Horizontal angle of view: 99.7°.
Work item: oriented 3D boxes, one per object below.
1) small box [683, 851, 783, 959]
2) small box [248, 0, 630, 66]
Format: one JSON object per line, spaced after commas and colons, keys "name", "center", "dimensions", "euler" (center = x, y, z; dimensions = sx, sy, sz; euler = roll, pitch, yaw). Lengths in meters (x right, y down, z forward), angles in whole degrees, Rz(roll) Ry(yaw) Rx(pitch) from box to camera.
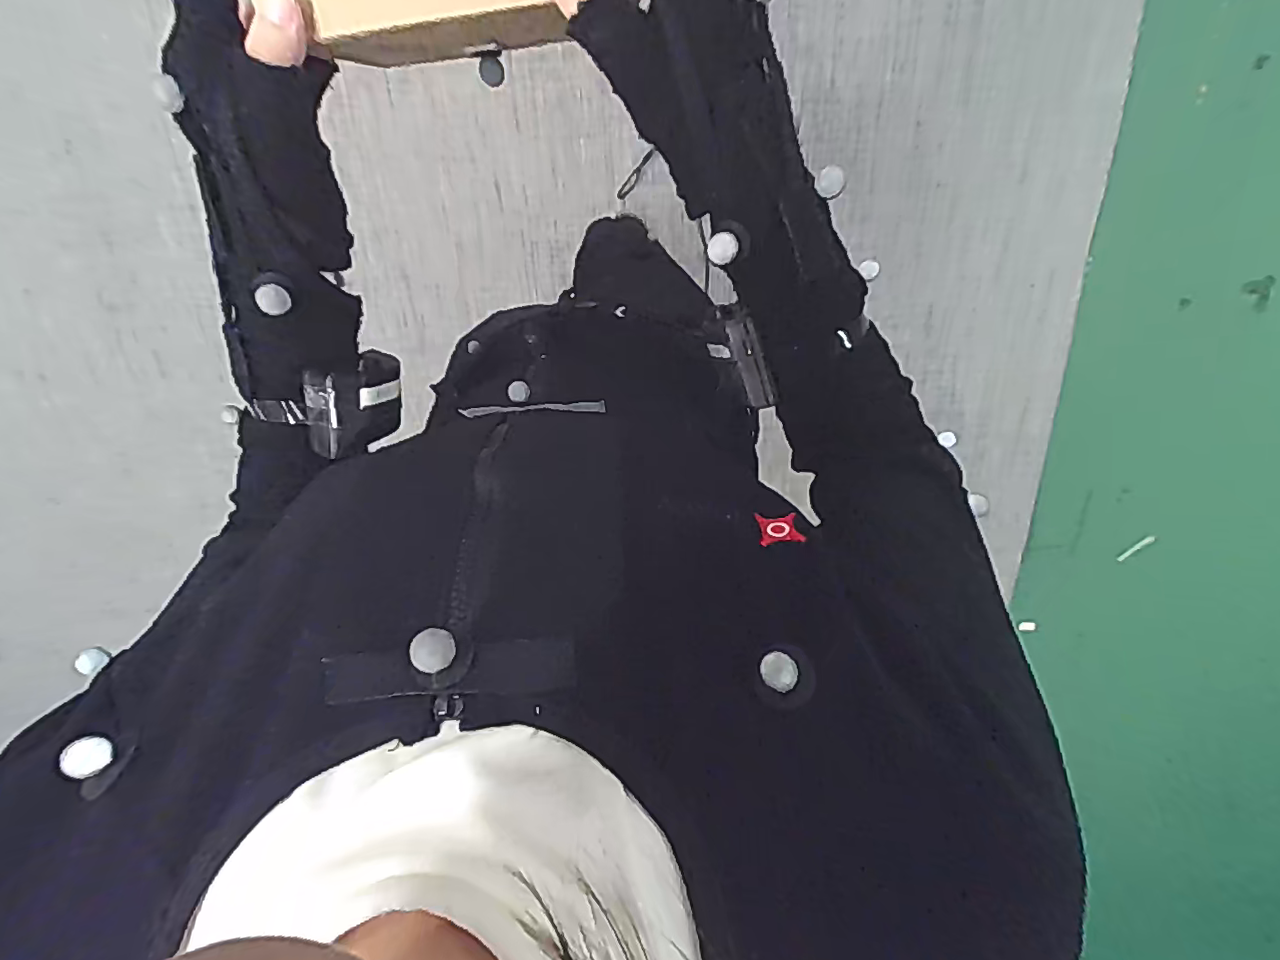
{"name": "small box", "center": [0.181, 0.901, 1.108], "dimensions": [0.168, 0.176, 0.179], "euler": [0, 111, -3]}
{"name": "small box", "center": [-0.096, -0.319, 0.253], "dimensions": [0.168, 0.176, 0.179], "euler": [-7, 124, 2]}
